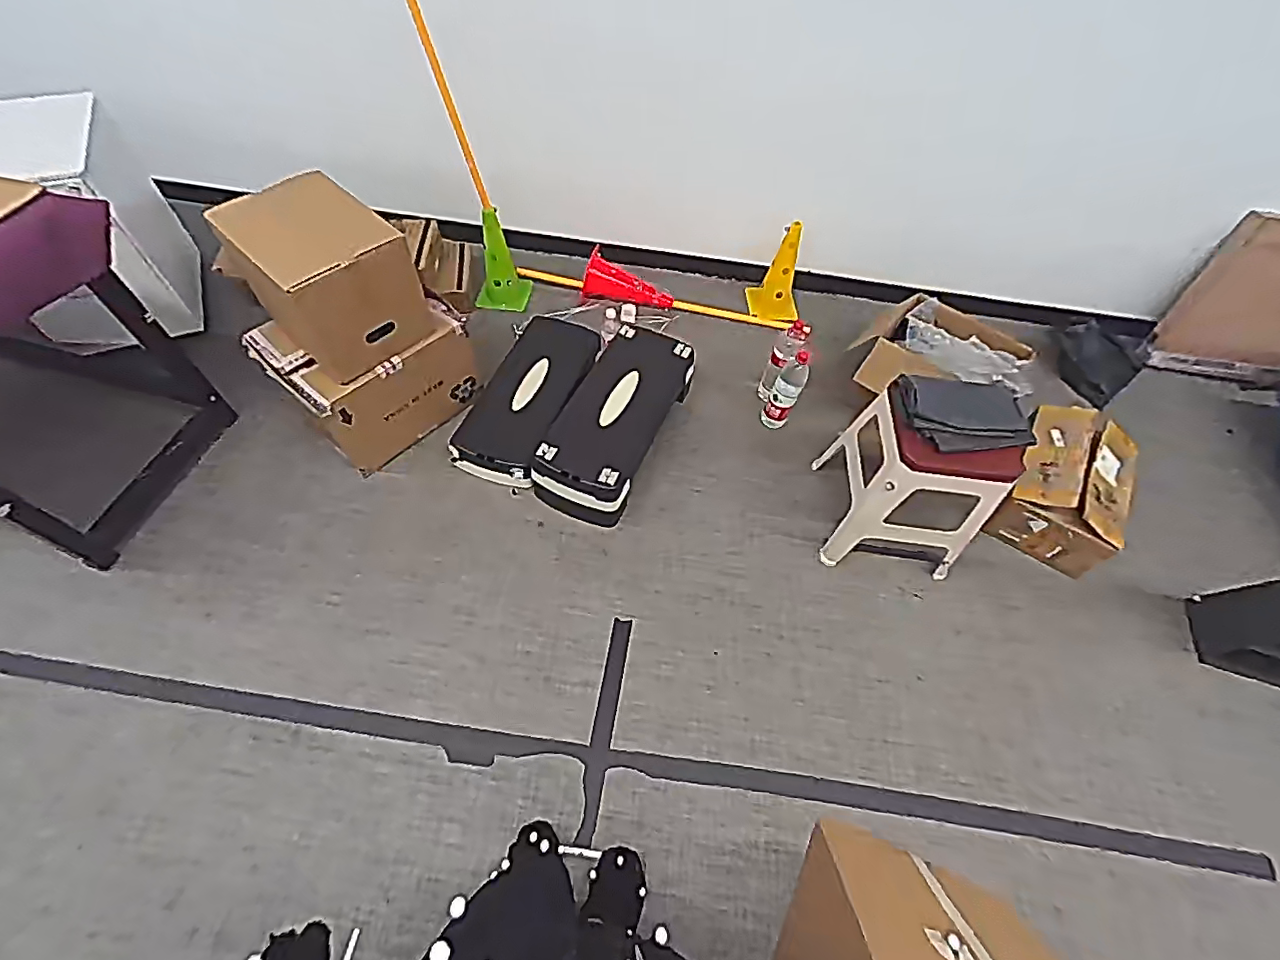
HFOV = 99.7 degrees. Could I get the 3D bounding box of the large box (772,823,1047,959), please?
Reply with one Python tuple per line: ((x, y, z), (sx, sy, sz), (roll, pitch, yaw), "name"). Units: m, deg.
((0.354, 0.734, 0.667), (0.320, 0.408, 0.320), (20, 85, 11), "large box")
